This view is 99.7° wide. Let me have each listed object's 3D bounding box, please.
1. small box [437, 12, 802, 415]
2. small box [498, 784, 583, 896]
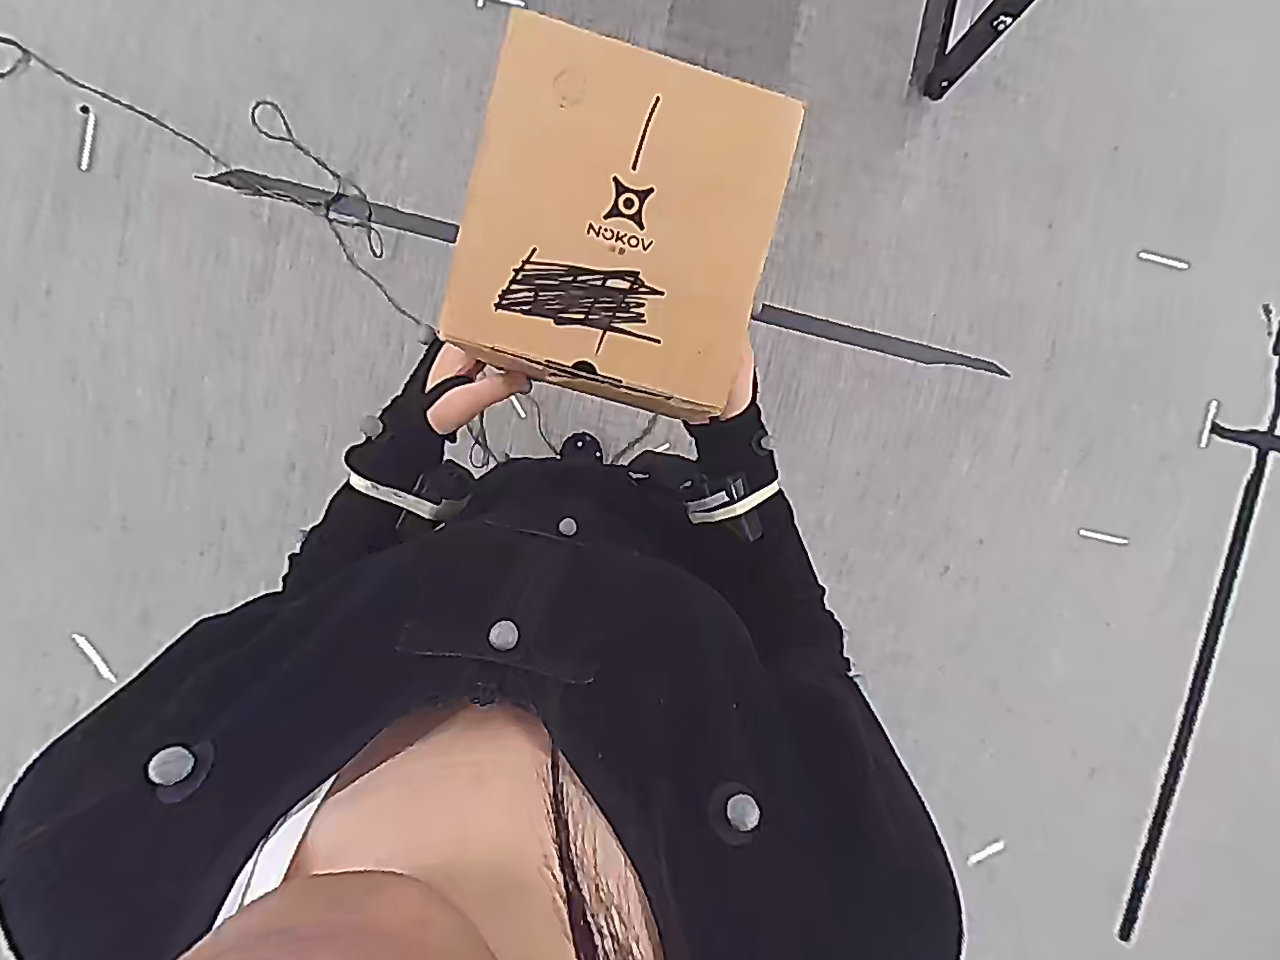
[{"bbox_3d":[-0.016,-0.148,0.373,0.168,0.176,0.179,15,93,-5],"label":"small box"},{"bbox_3d":[-0.261,0.960,1.457,0.179,0.176,0.168,20,92,-6],"label":"small box"}]
